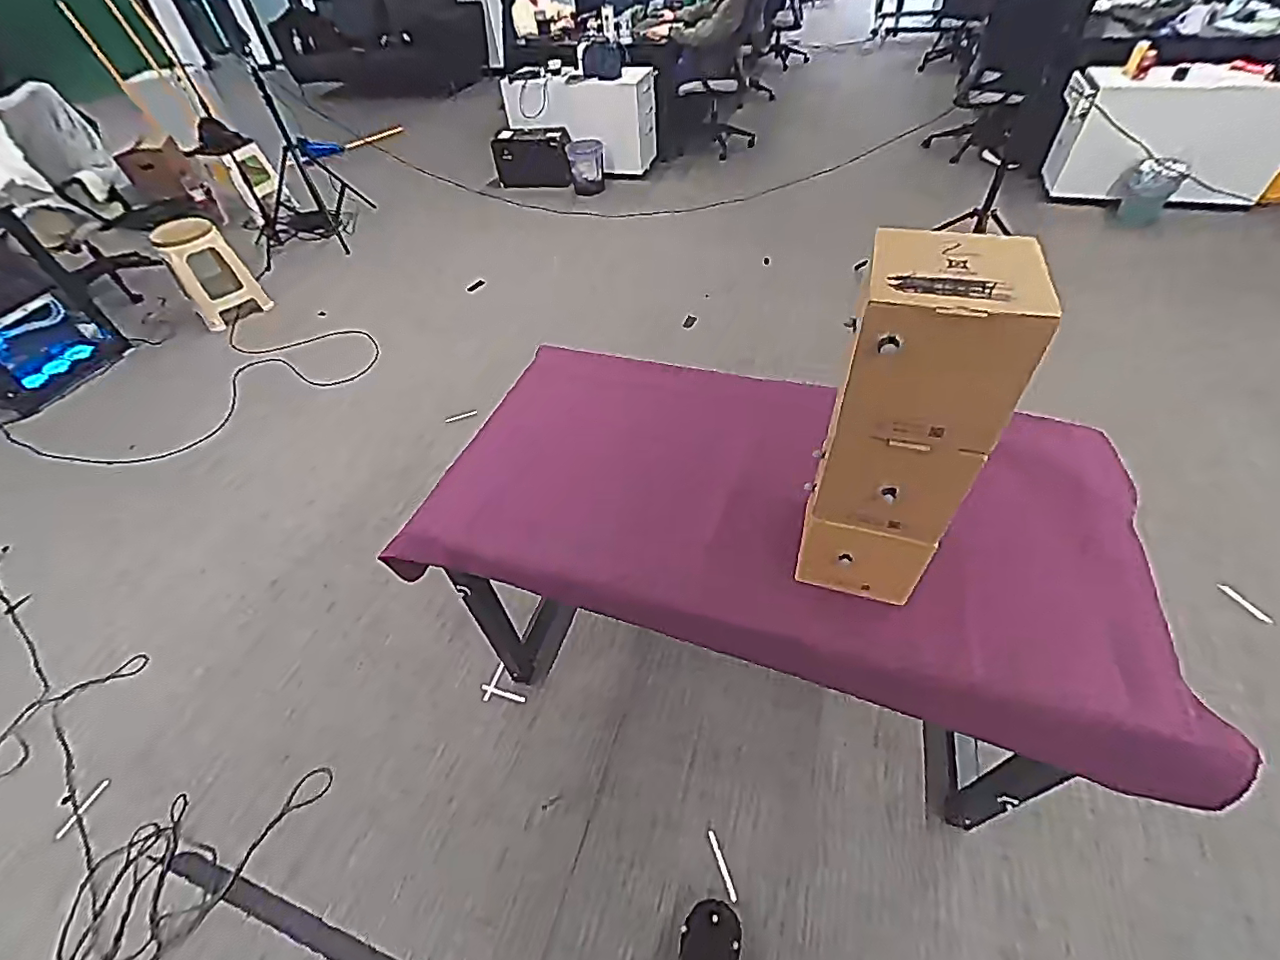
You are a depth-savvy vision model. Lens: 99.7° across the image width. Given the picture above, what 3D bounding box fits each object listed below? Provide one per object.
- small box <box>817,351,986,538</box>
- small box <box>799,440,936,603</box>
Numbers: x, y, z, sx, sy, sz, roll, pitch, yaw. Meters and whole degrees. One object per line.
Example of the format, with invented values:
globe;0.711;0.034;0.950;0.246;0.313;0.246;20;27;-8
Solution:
small box;0.343;-0.046;0.731;0.168;0.176;0.179;12;50;16
small box;0.352;0.067;0.849;0.168;0.176;0.179;12;50;15
